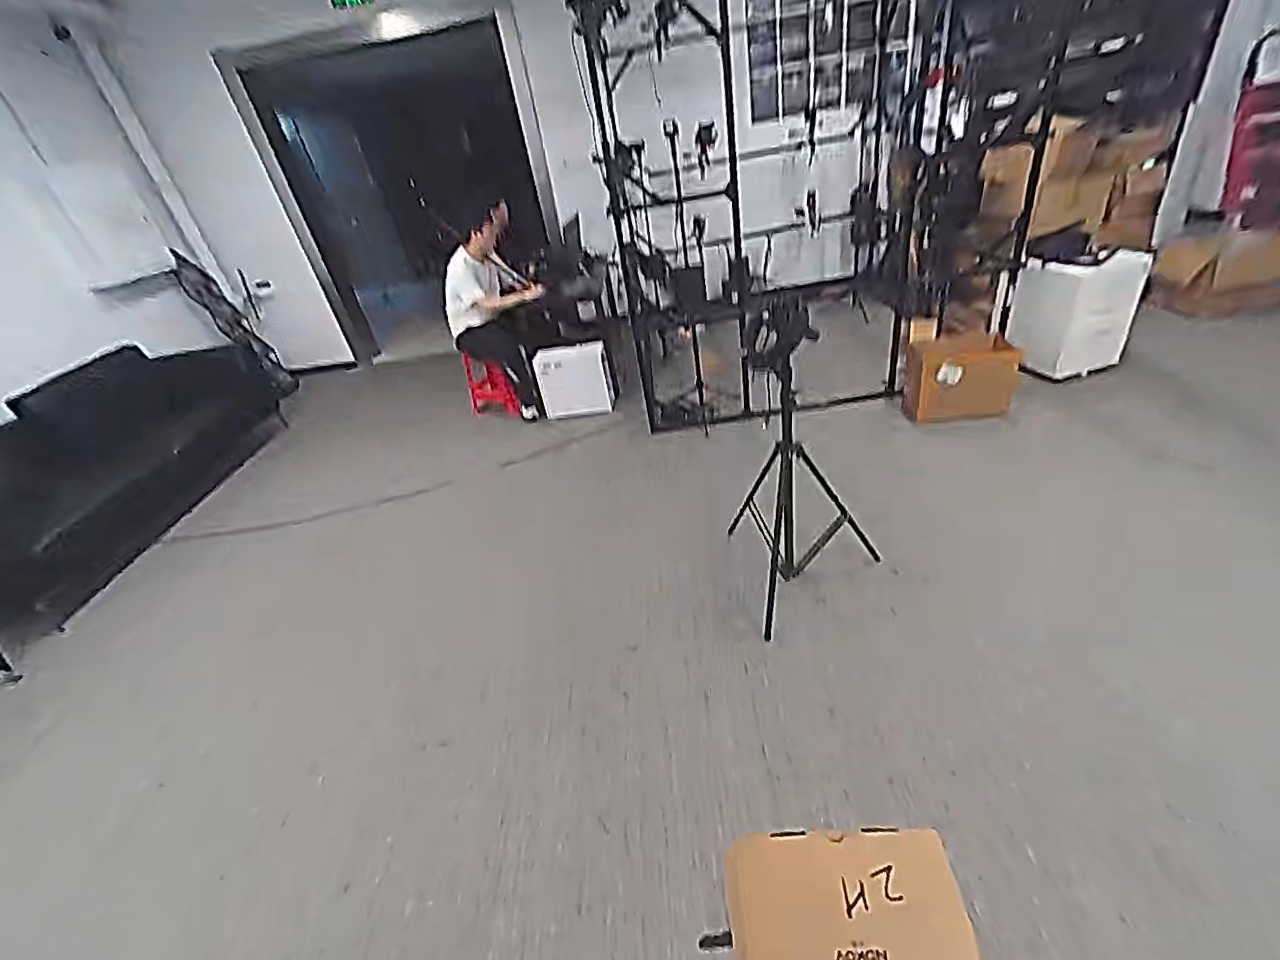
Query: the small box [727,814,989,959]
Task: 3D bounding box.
[{"bbox_3d":[0.161,0.385,0.425,0.168,0.176,0.179,-5,46,2],"label":"small box"}]
